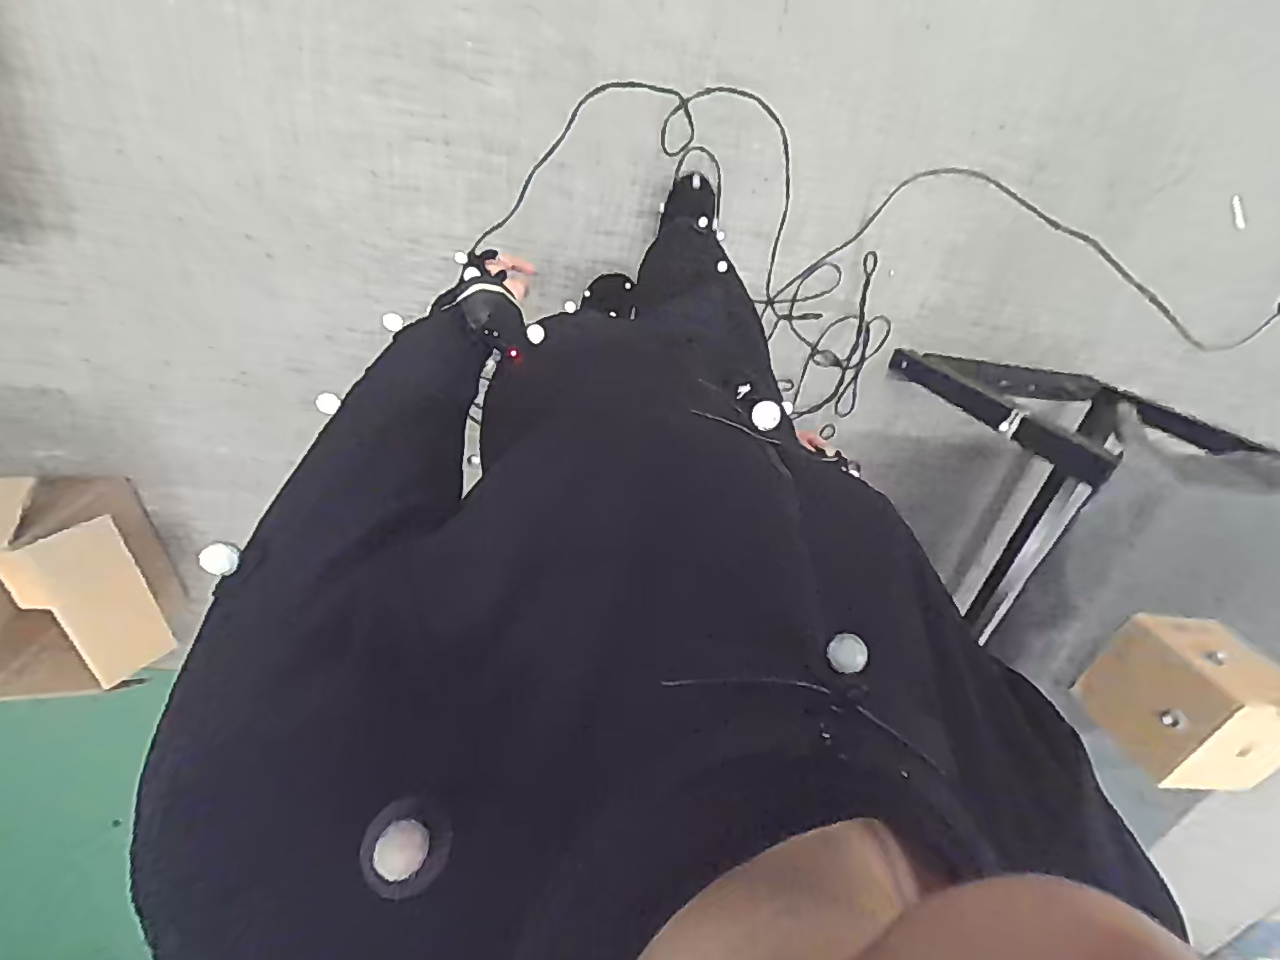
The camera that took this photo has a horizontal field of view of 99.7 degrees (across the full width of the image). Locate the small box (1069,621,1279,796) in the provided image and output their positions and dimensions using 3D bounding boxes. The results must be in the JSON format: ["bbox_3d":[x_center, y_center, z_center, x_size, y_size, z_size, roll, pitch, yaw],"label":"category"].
[{"bbox_3d":[0.793,0.329,0.791,0.168,0.176,0.179,8,119,-10],"label":"small box"}]
